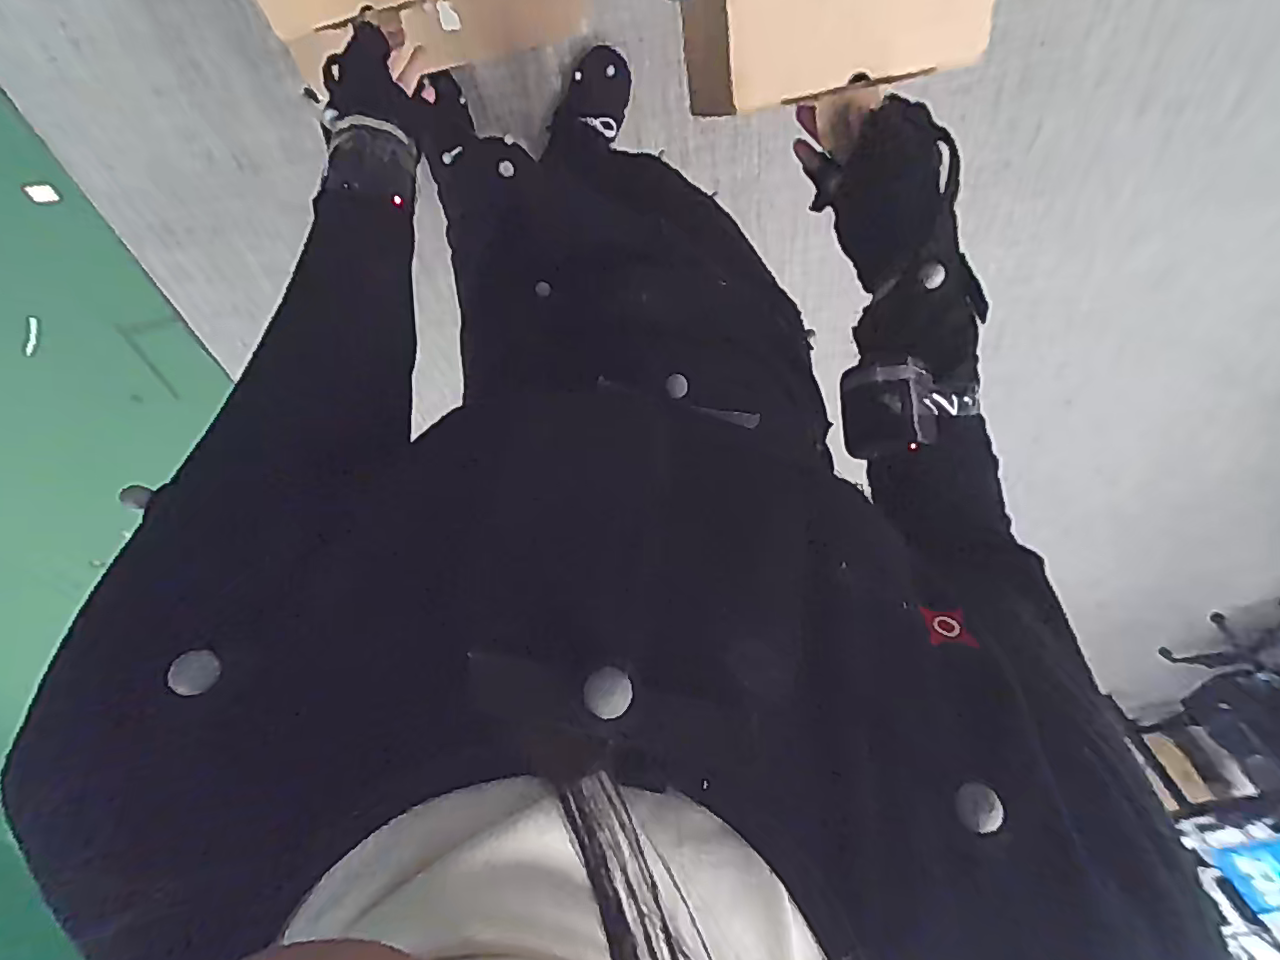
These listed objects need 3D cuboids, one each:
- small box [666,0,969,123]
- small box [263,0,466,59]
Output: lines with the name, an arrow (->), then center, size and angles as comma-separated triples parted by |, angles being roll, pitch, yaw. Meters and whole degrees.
small box -> 0.108, -0.370, 0.374 | 0.168, 0.176, 0.179 | -12, 125, 3
small box -> -0.254, -0.506, 0.461 | 0.168, 0.176, 0.179 | -14, 139, 4
